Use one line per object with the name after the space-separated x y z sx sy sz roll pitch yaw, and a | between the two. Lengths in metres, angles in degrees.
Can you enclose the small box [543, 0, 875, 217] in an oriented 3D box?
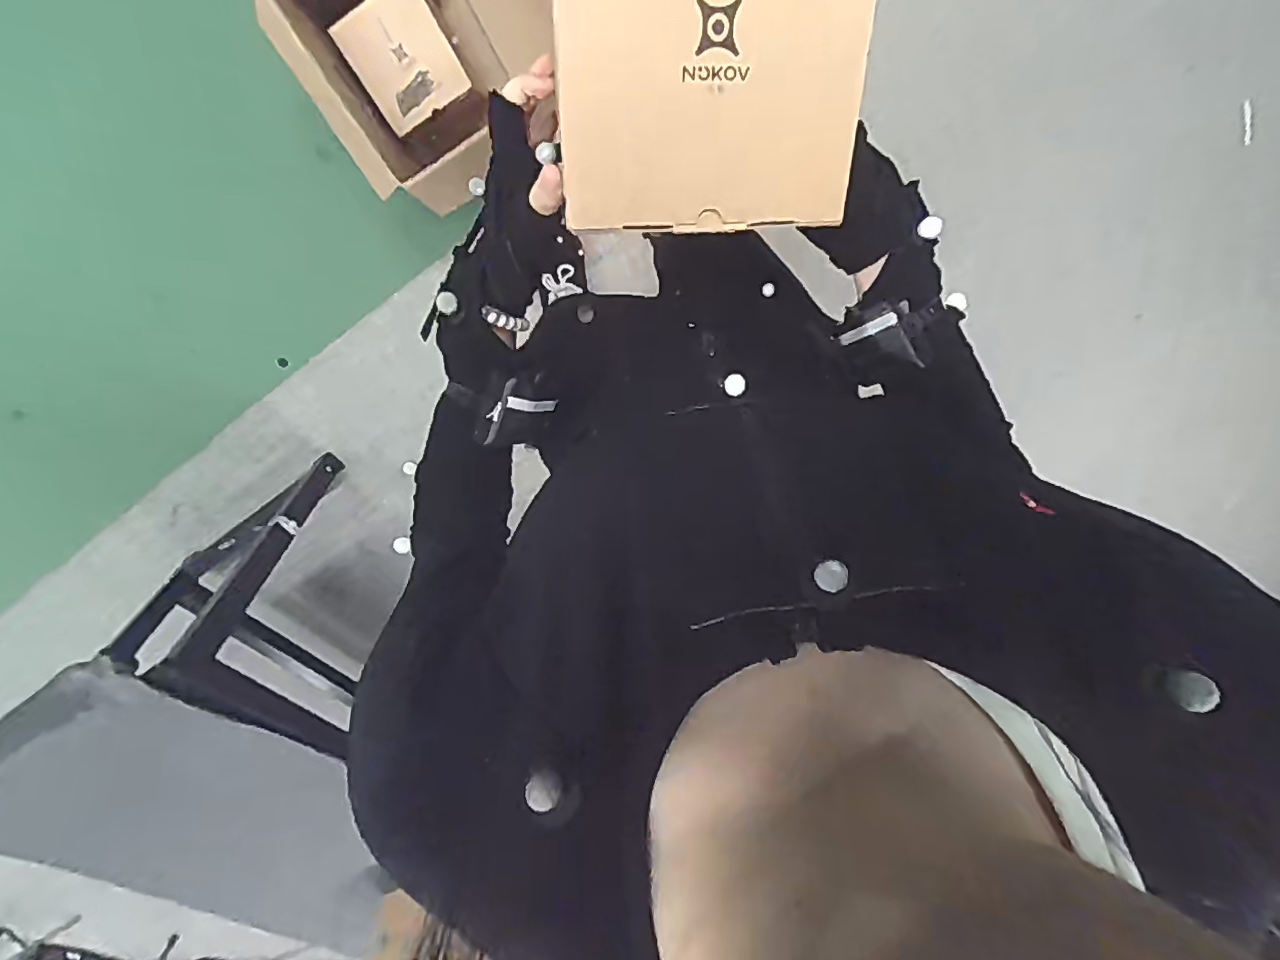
0.027 -0.267 0.340 0.168 0.176 0.179 -5 120 -7 | small box
